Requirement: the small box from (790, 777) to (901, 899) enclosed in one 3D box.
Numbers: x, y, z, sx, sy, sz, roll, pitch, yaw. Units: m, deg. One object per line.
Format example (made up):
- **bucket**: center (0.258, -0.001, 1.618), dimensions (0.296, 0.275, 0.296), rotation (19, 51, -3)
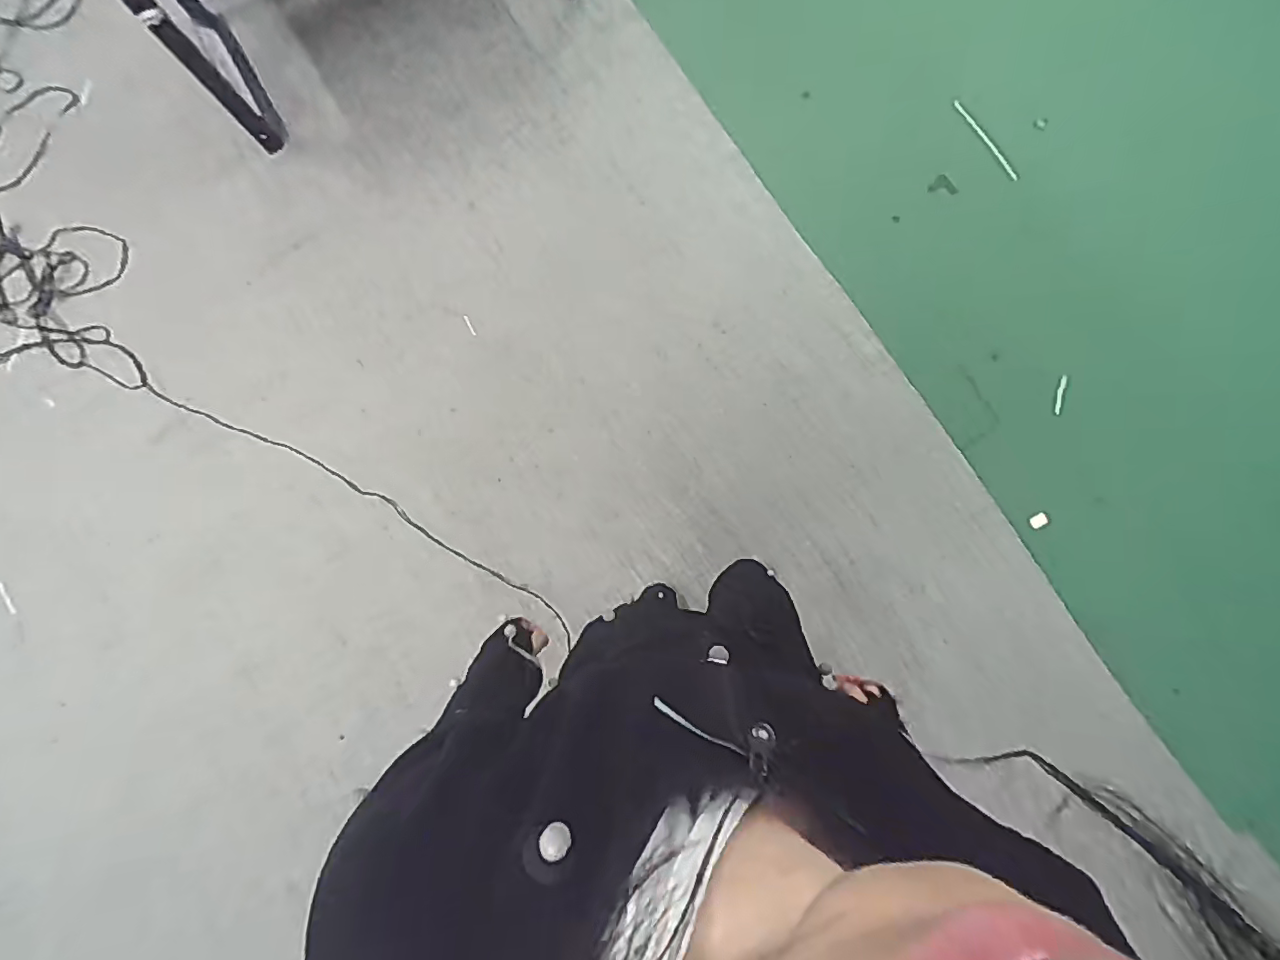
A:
- **small box**: center (0.491, 0.859, 1.324), dimensions (0.168, 0.176, 0.179), rotation (-25, 82, -2)
